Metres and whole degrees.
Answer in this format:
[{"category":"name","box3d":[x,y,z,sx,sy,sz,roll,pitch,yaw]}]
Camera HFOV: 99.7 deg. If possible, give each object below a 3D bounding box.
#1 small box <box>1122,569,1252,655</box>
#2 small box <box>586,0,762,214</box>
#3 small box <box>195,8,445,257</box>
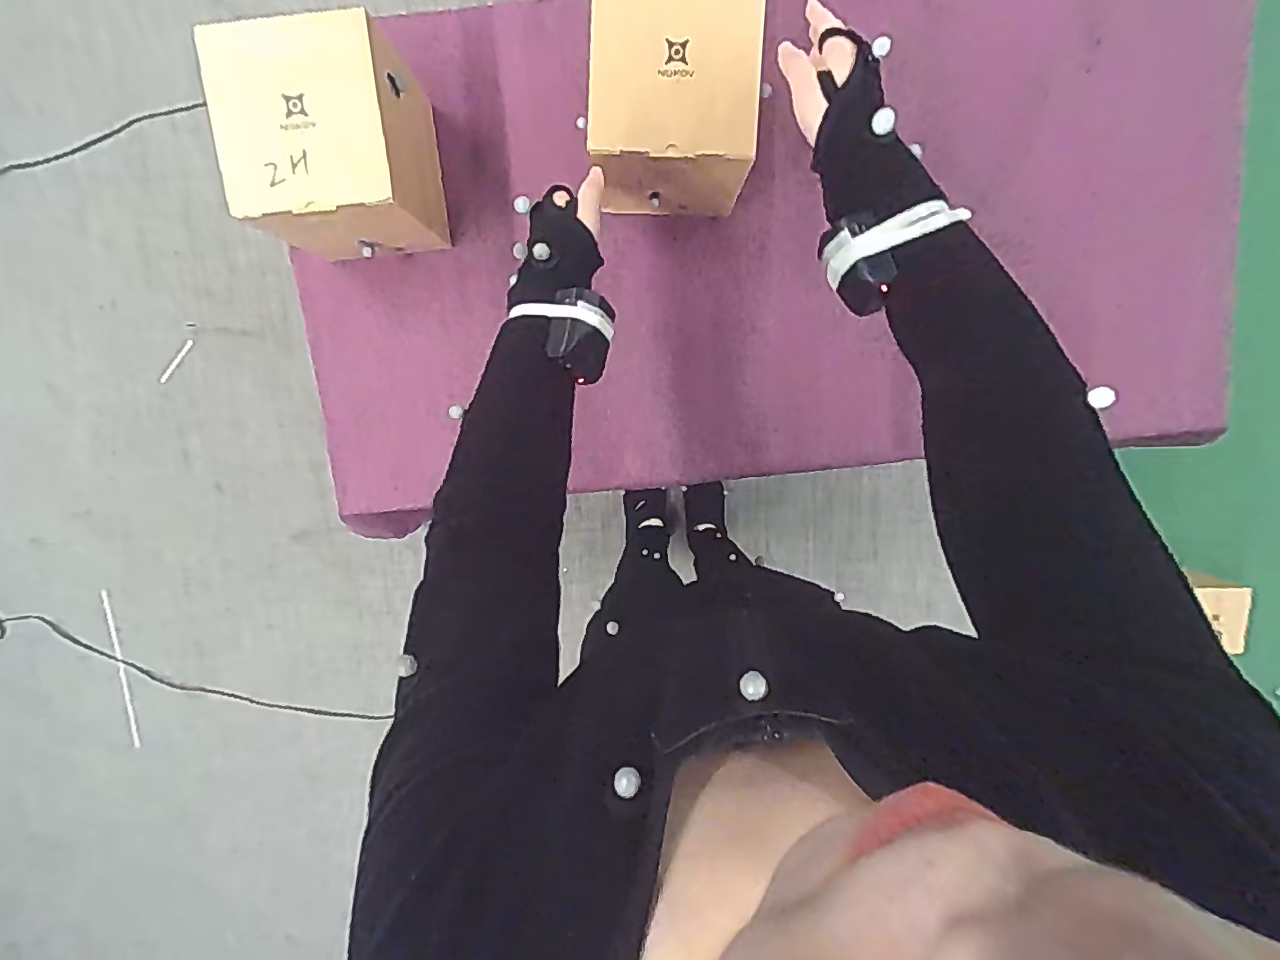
[{"category":"small box","box3d":[1.433,0.344,1.430,0.168,0.176,0.179,0,97,0]},{"category":"small box","box3d":[0.031,-0.416,0.595,0.168,0.176,0.179,2,100,0]},{"category":"small box","box3d":[-0.334,-0.367,0.602,0.168,0.176,0.179,-5,99,1]}]
